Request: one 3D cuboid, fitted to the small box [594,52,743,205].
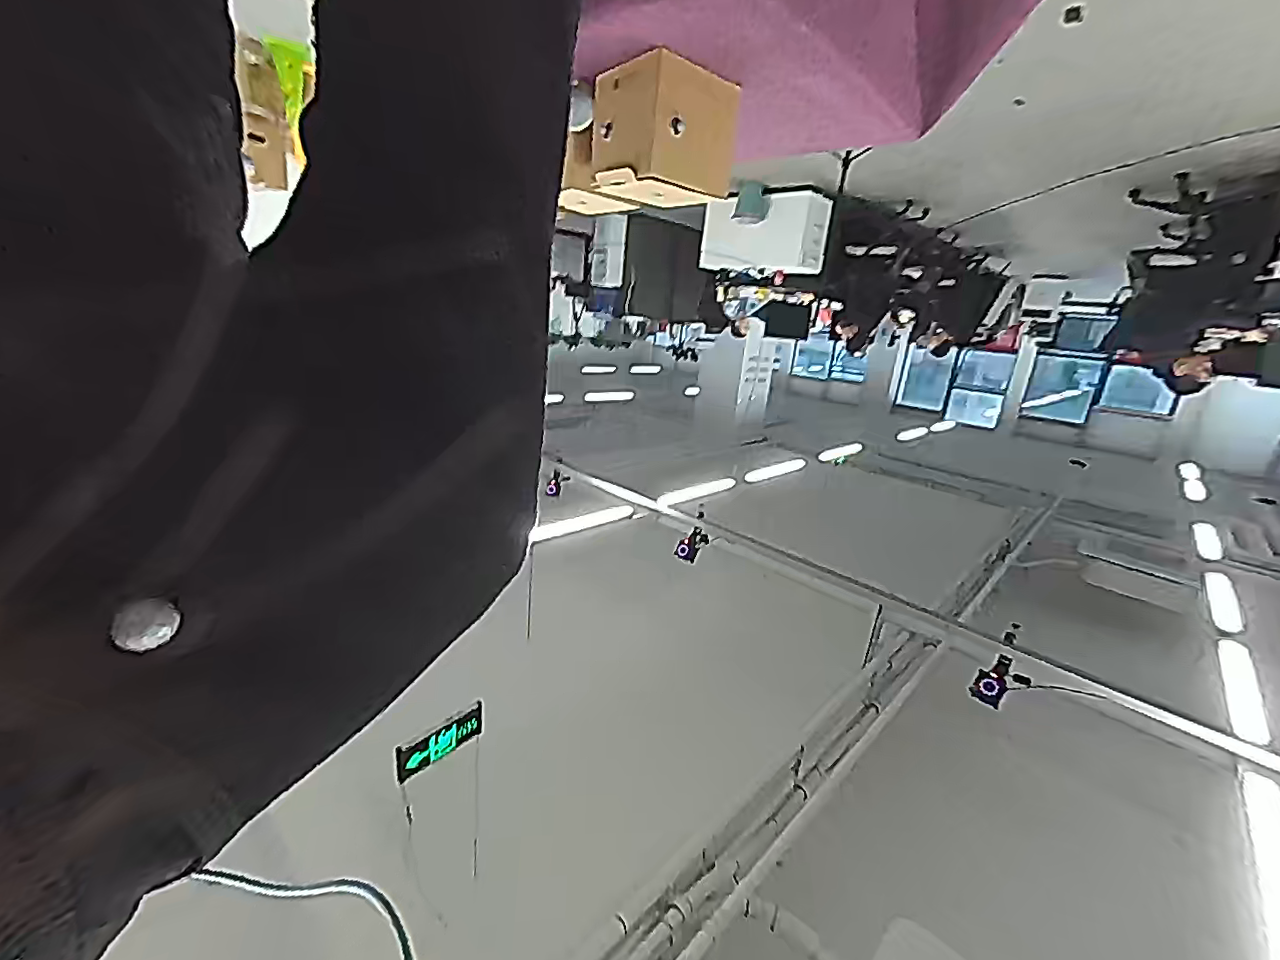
[{"bbox_3d":[0.045,-0.568,0.889,0.179,0.176,0.168,-9,-157,-38],"label":"small box"}]
